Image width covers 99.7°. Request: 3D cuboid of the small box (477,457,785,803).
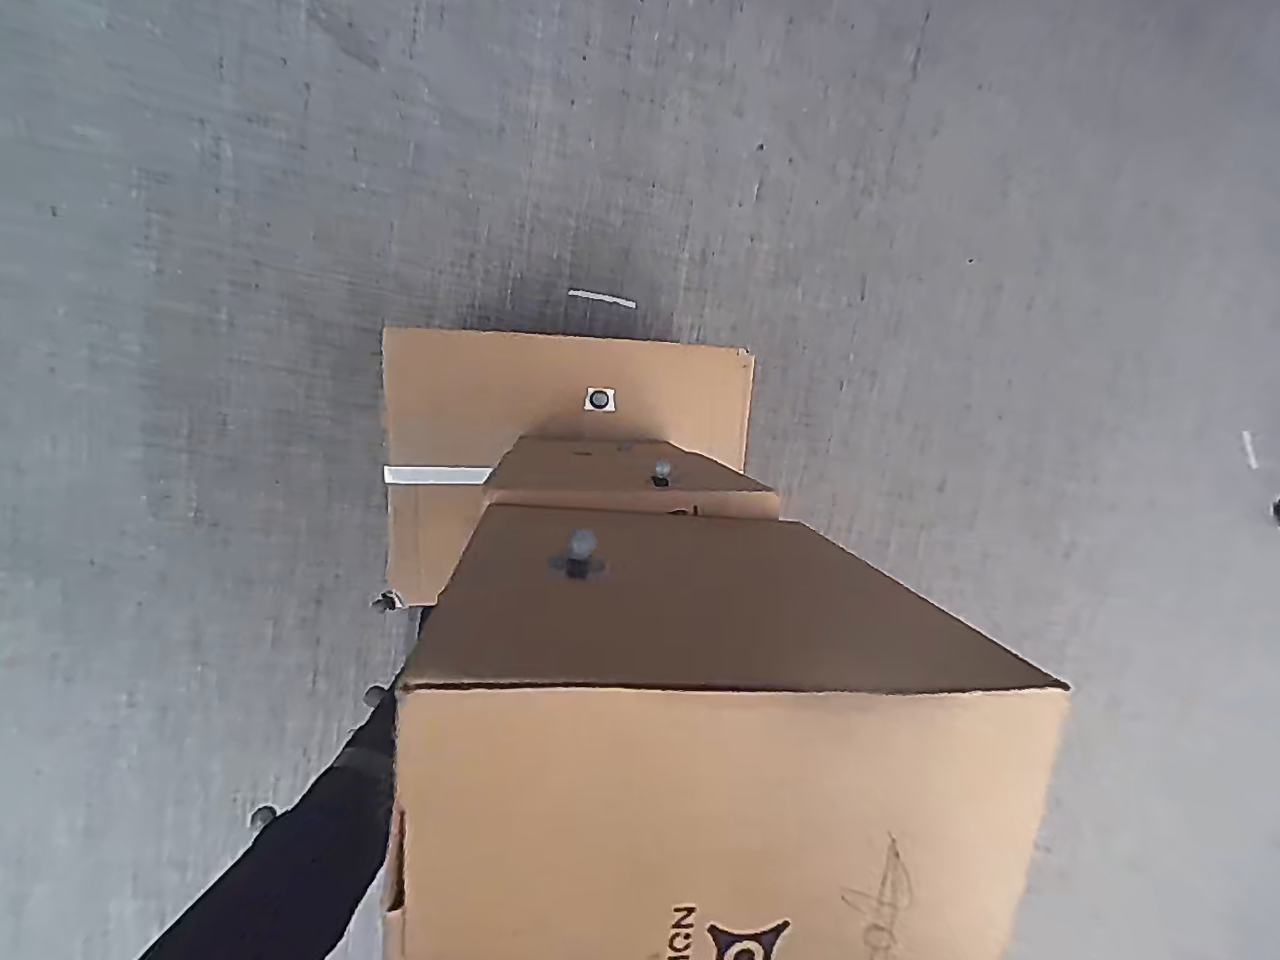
[{"bbox_3d":[-0.014,0.083,0.376,0.168,0.176,0.179,0,100,-7],"label":"small box"}]
